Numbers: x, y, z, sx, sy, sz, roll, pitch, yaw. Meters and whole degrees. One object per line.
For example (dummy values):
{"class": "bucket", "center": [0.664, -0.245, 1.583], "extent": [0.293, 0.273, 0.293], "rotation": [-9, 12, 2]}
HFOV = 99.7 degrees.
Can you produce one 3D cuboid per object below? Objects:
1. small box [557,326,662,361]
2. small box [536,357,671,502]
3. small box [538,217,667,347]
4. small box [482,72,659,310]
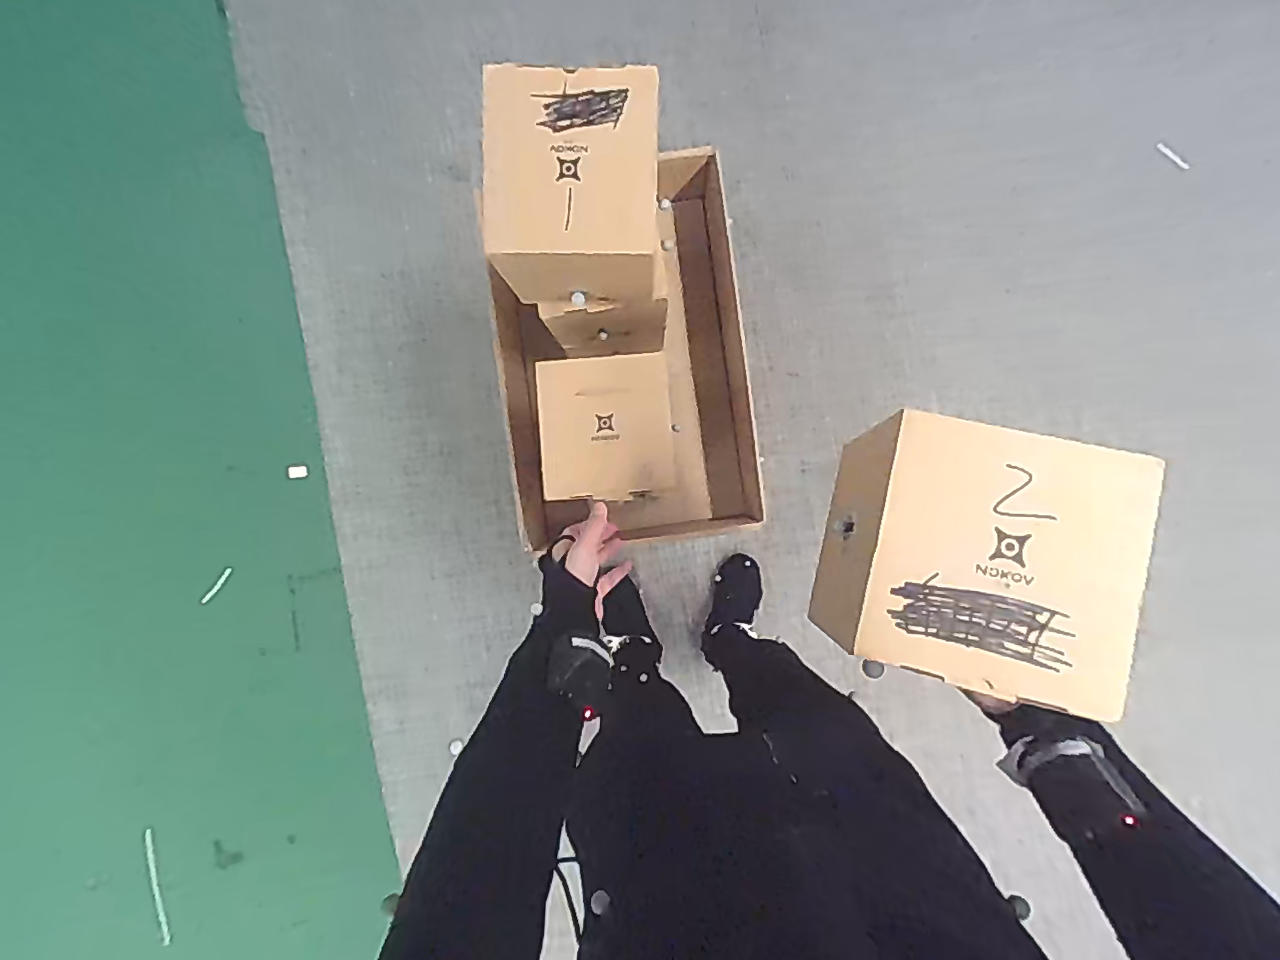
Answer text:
{"class": "small box", "center": [-0.057, -0.306, 0.918], "extent": [0.168, 0.176, 0.179], "rotation": [-8, 92, 2]}
{"class": "small box", "center": [-0.044, -0.063, 0.753], "extent": [0.168, 0.176, 0.179], "rotation": [-3, 89, 0]}
{"class": "small box", "center": [-0.059, -0.300, 0.756], "extent": [0.168, 0.176, 0.179], "rotation": [-9, 92, 1]}
{"class": "small box", "center": [-0.067, -0.299, 0.592], "extent": [0.168, 0.176, 0.179], "rotation": [1, 93, 1]}
